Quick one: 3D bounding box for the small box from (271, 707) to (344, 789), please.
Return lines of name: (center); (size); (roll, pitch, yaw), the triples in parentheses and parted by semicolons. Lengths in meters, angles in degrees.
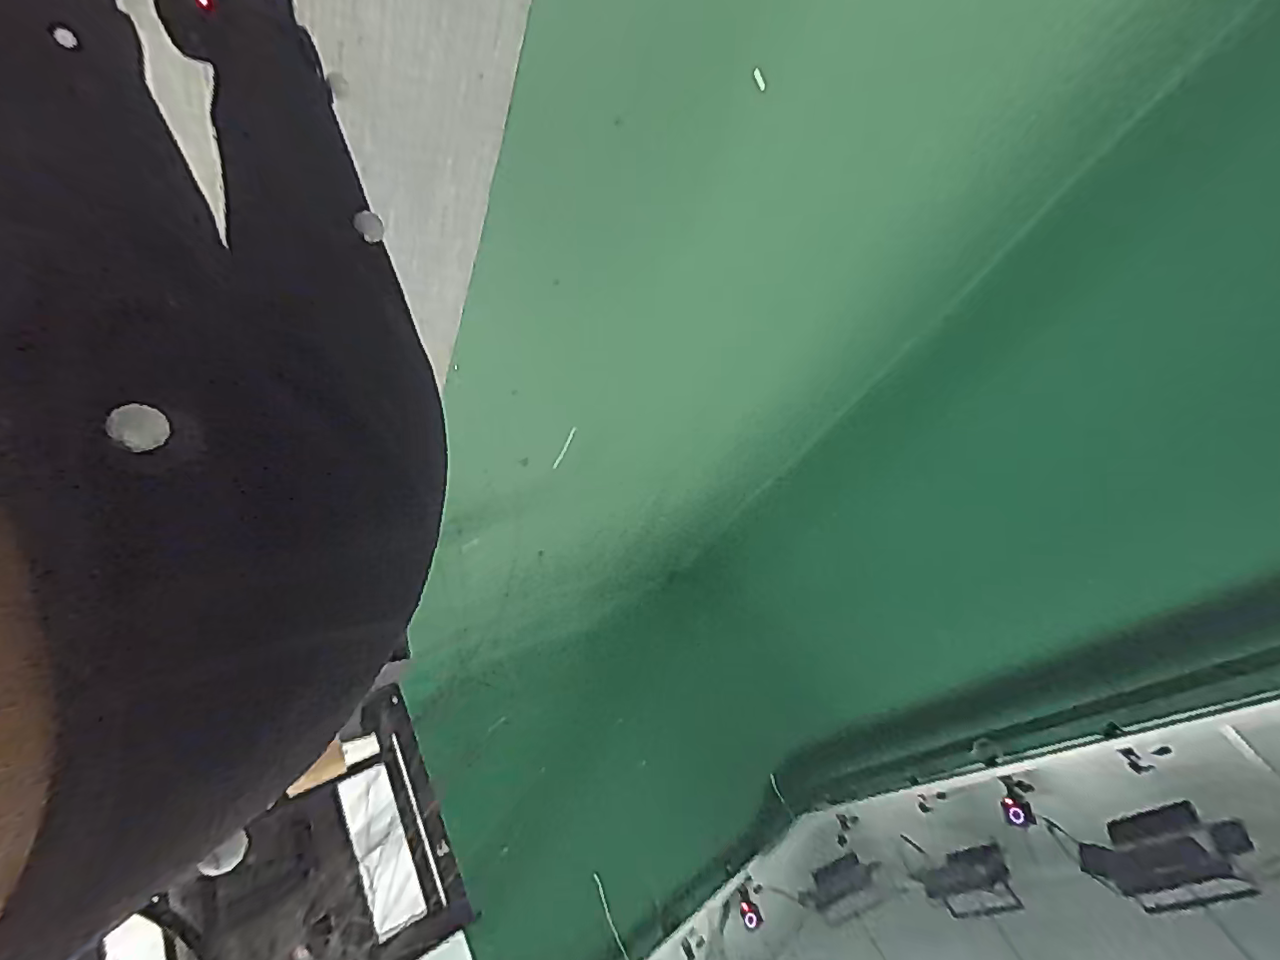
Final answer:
small box: (-1.056, 0.850, 1.723); (0.168, 0.176, 0.179); (-15, 153, -35)
